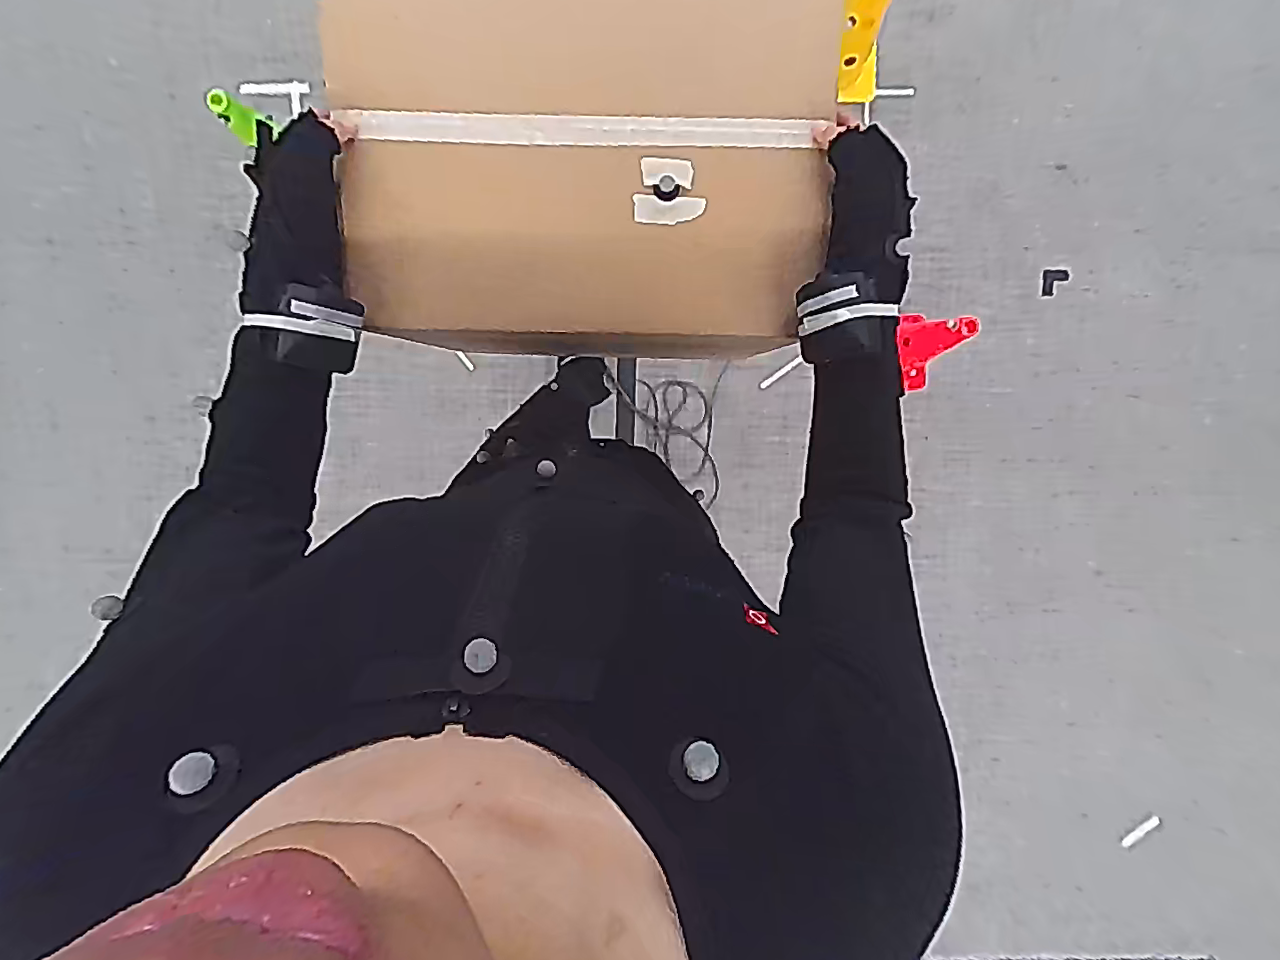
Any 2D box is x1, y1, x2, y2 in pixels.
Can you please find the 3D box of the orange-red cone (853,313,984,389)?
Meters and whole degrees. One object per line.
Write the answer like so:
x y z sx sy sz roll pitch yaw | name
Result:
0.665 -0.330 1.256 0.198 0.360 0.199 -2 93 -1 | orange-red cone

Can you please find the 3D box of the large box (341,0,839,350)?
-0.044 -0.314 0.590 0.408 0.320 0.320 1 100 -2 | large box

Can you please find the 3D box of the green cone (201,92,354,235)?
-0.815 -0.746 1.211 0.202 0.368 0.200 -37 93 4 | green cone
